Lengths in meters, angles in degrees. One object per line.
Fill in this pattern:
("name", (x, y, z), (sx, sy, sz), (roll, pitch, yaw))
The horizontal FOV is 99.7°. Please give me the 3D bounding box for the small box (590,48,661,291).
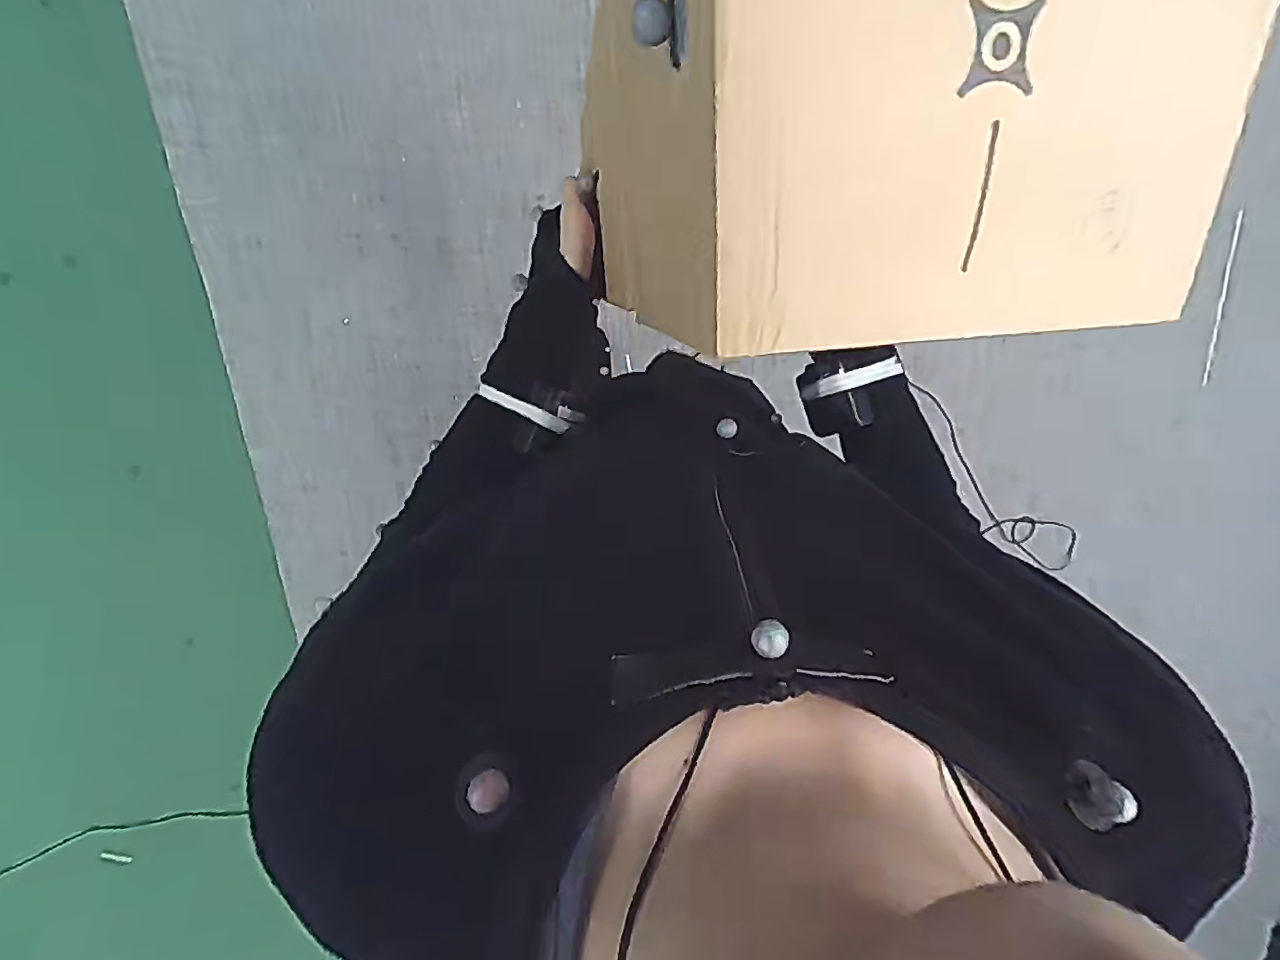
("small box", (0.041, -0.280, 0.524), (0.168, 0.176, 0.179), (-5, 110, -8))
